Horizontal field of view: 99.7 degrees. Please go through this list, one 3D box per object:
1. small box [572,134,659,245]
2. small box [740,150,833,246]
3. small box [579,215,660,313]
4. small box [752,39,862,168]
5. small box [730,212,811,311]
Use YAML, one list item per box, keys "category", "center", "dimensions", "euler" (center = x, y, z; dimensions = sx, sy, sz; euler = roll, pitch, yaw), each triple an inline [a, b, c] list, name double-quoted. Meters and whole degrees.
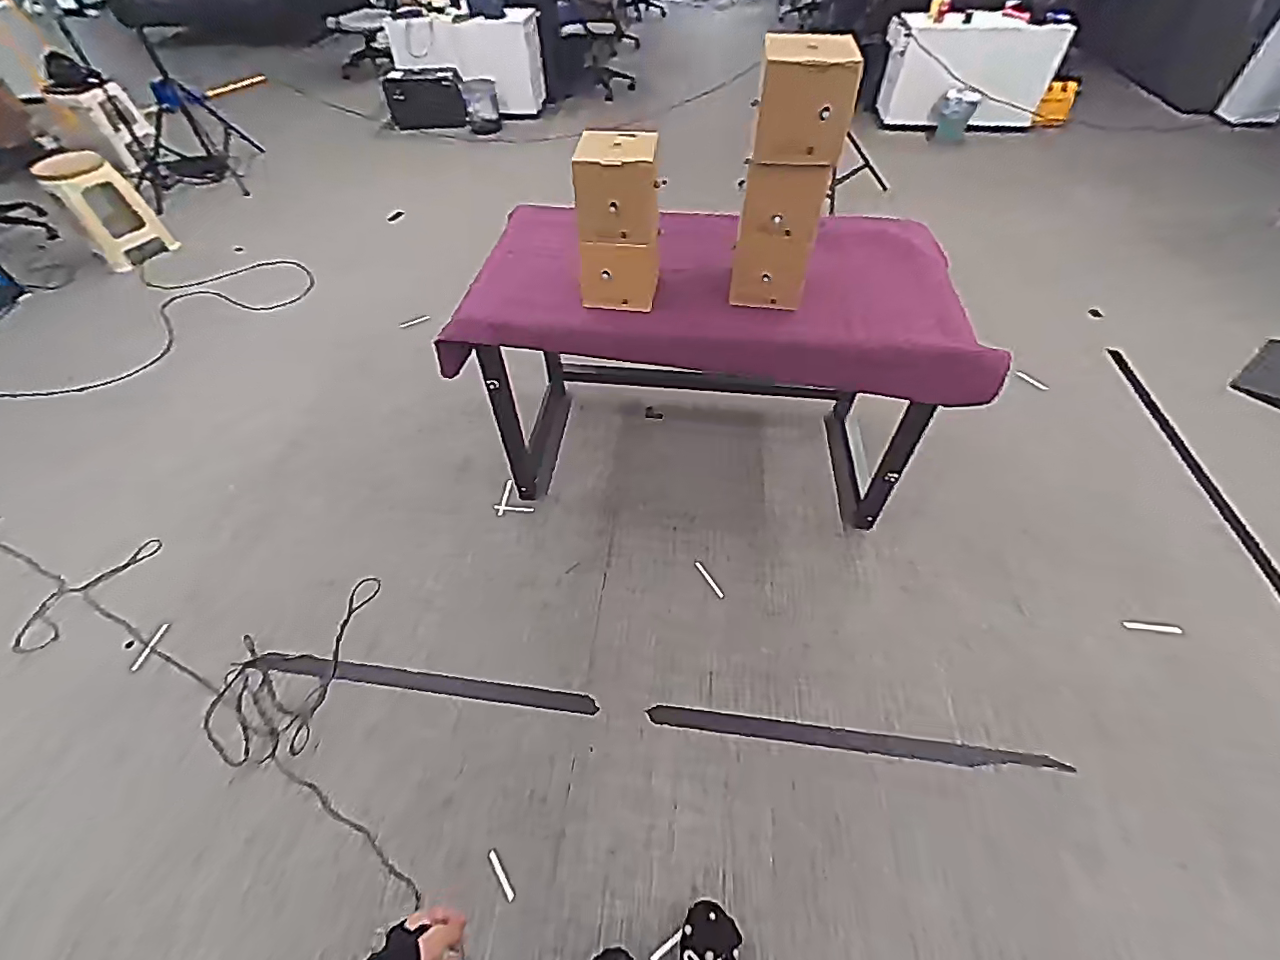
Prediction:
- category: "small box"
  center: [-0.046, -0.634, 1.185]
  dimensions: [0.168, 0.176, 0.179]
  euler: [4, 50, 4]
- category: "small box"
  center: [0.314, -0.637, 1.180]
  dimensions: [0.168, 0.176, 0.179]
  euler: [7, 51, 7]
- category: "small box"
  center: [-0.043, -0.523, 1.306]
  dimensions: [0.168, 0.176, 0.179]
  euler: [6, 50, 5]
- category: "small box"
  center: [0.311, -0.723, 1.041]
  dimensions: [0.168, 0.176, 0.179]
  euler: [5, 50, 4]
- category: "small box"
  center: [0.312, -0.530, 1.305]
  dimensions: [0.168, 0.176, 0.179]
  euler: [8, 51, 6]
